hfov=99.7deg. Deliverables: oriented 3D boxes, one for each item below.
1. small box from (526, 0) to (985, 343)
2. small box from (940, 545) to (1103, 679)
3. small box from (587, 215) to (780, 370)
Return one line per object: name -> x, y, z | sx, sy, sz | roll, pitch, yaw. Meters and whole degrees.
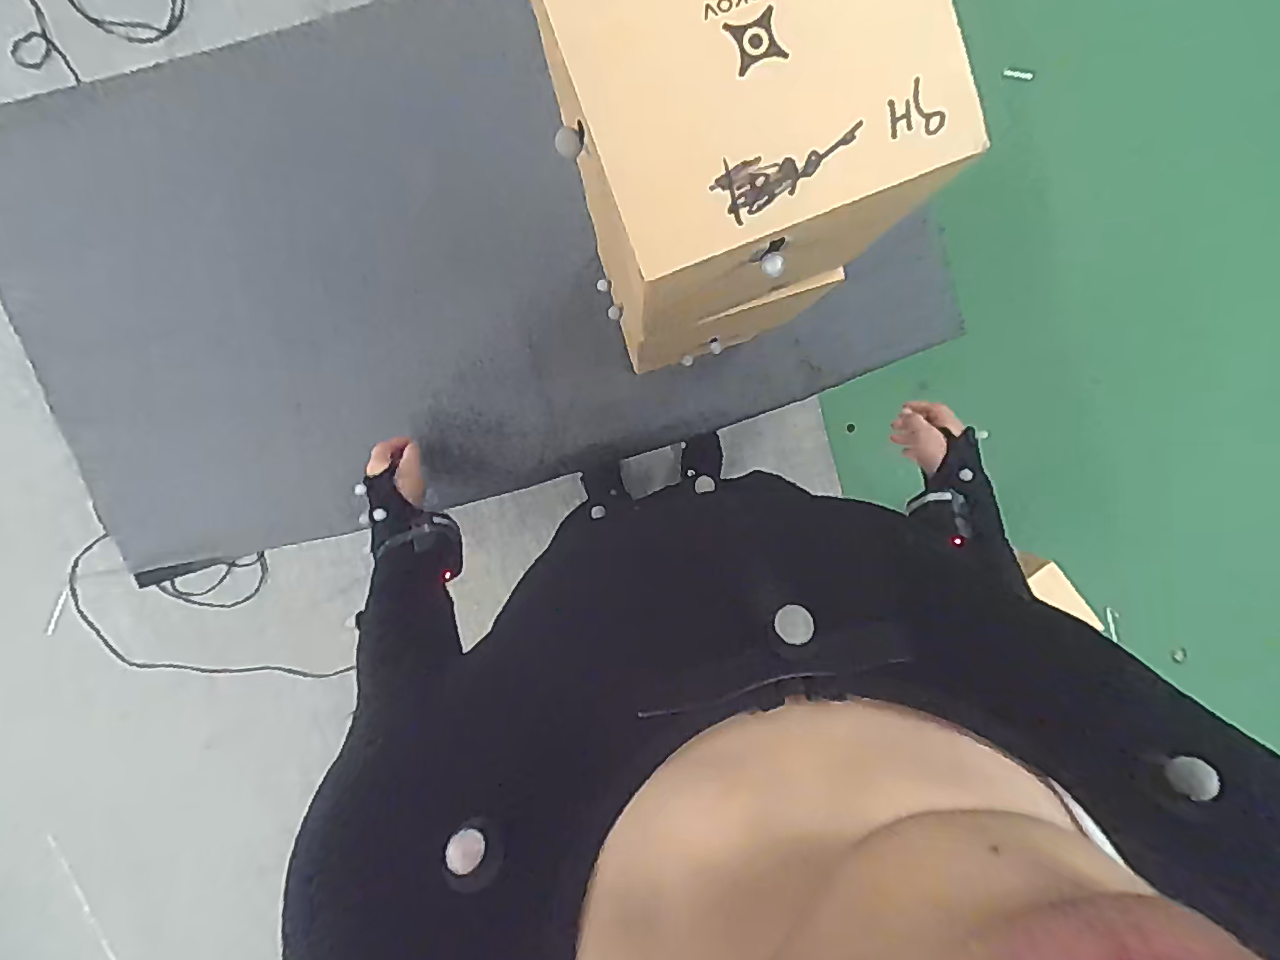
small box -> 0.044, -0.197, 0.307 | 0.168, 0.176, 0.179 | -20, 95, 2
small box -> 0.766, 0.259, 1.105 | 0.168, 0.176, 0.179 | -39, 95, 6
small box -> 0.047, -0.234, 0.634 | 0.168, 0.176, 0.179 | -17, 95, 2
